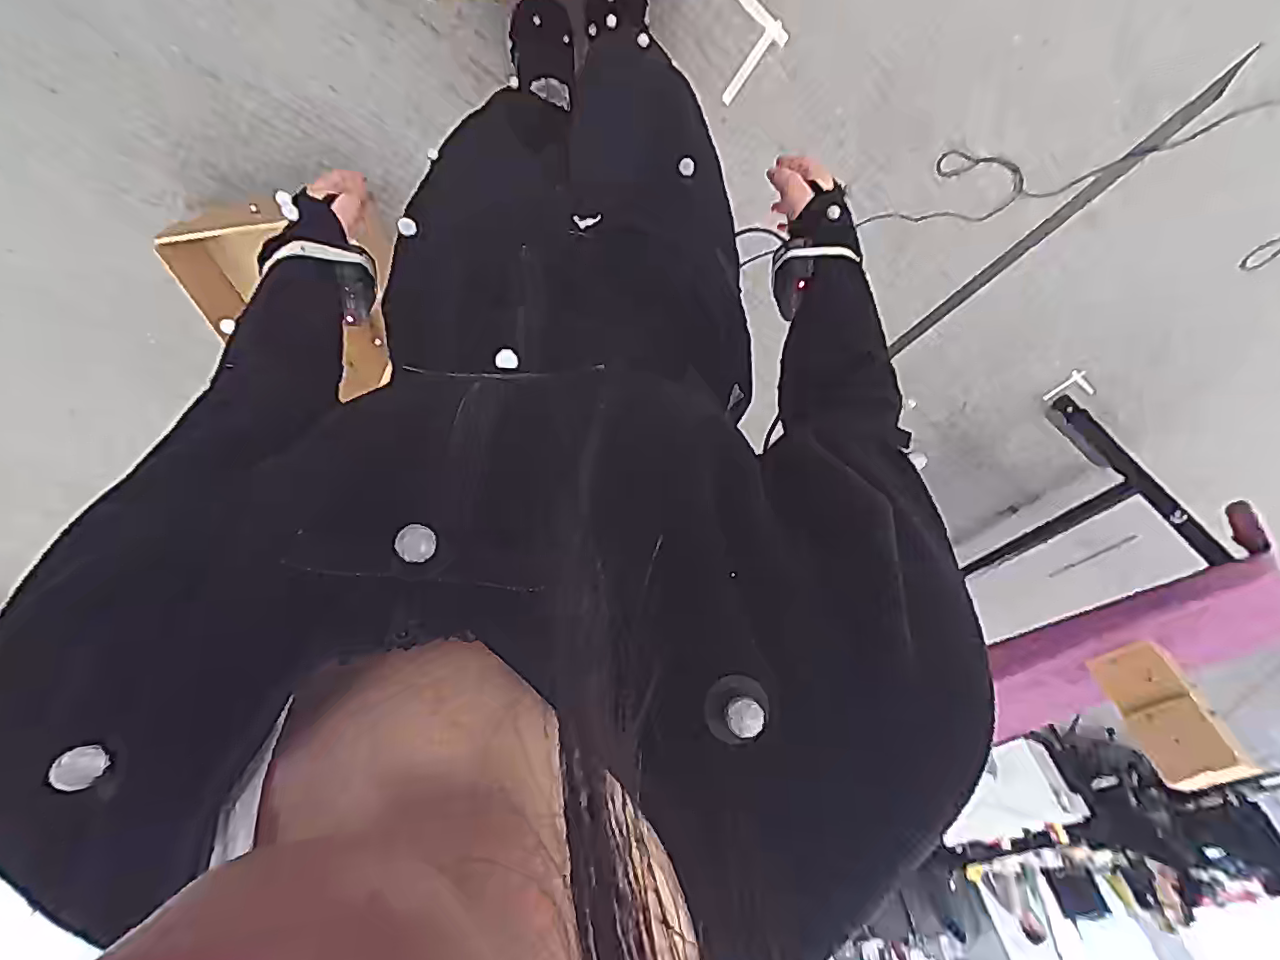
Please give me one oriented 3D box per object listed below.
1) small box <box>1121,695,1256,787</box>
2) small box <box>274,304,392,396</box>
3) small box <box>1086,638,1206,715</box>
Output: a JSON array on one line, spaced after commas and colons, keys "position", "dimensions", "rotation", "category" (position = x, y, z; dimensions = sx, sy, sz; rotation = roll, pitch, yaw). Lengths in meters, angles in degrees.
[{"position": [1.423, 0.681, 1.414], "dimensions": [0.179, 0.176, 0.168], "rotation": [24, 129, -28], "category": "small box"}, {"position": [-0.745, -0.314, 1.335], "dimensions": [0.179, 0.176, 0.168], "rotation": [-8, 136, 0], "category": "small box"}, {"position": [1.429, 0.571, 1.539], "dimensions": [0.179, 0.176, 0.168], "rotation": [24, 128, -29], "category": "small box"}]
